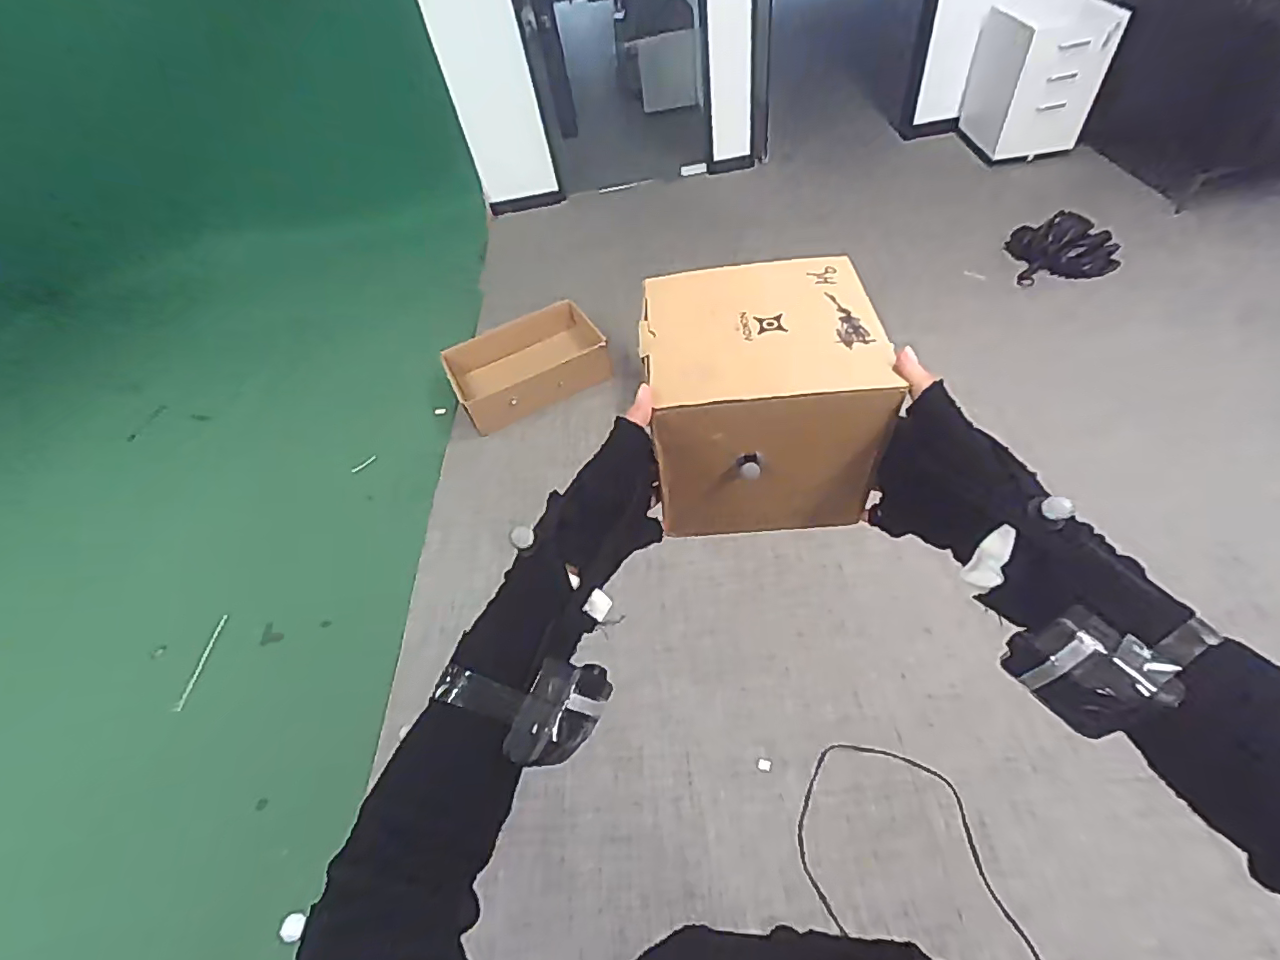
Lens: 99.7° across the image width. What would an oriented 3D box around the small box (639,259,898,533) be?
[{"bbox_3d":[0.097,-0.065,0.476,0.179,0.176,0.168,-5,52,5],"label":"small box"}]
